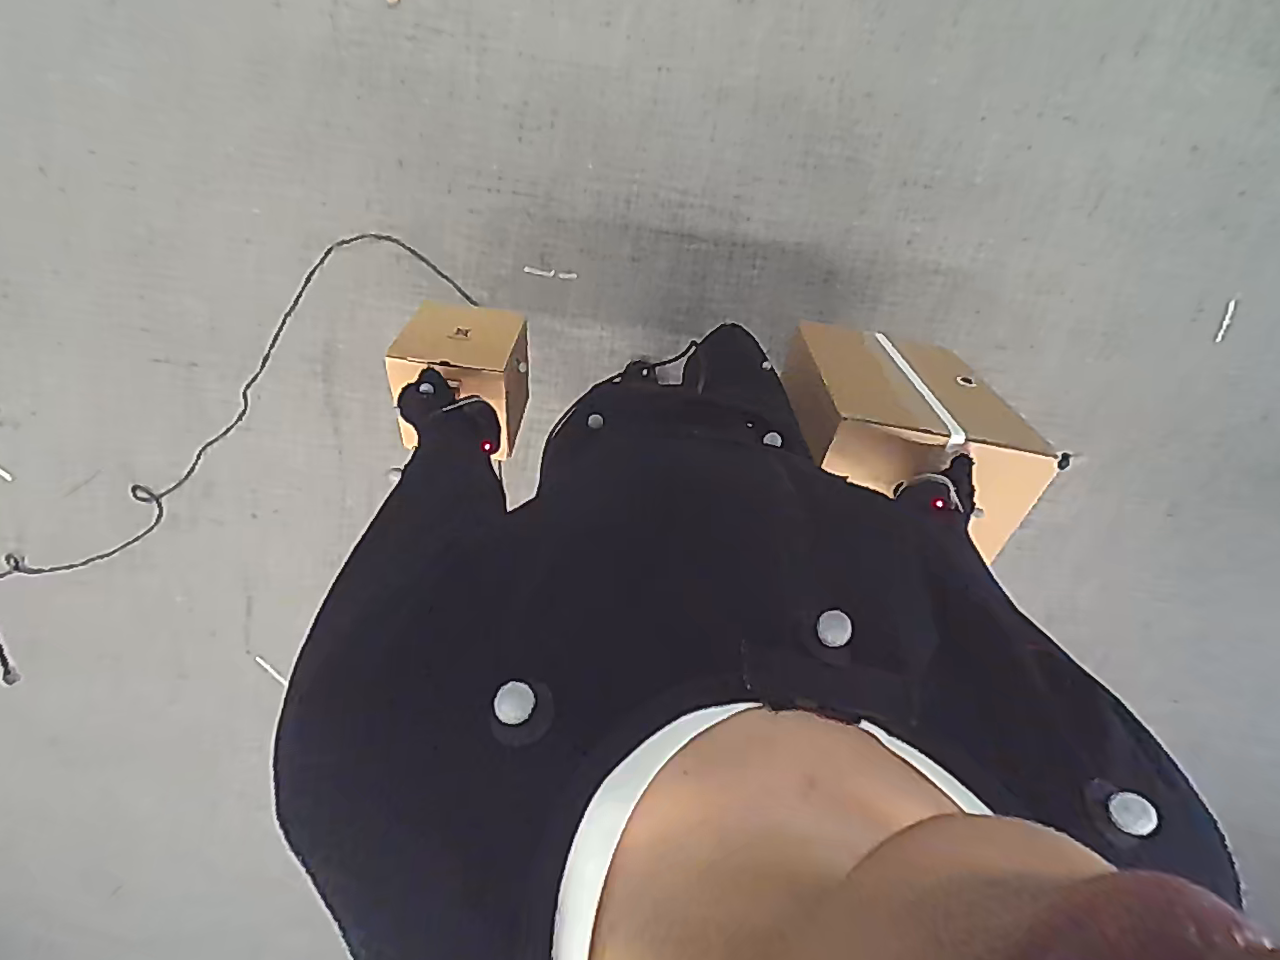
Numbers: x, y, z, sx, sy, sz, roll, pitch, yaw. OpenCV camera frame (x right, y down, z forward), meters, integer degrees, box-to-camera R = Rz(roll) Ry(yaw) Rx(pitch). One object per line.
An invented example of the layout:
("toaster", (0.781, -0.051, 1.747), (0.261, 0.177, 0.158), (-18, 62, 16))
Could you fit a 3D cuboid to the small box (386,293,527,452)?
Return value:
("small box", (-0.278, -0.170, 0.860), (0.168, 0.179, 0.176), (6, 136, -4))
